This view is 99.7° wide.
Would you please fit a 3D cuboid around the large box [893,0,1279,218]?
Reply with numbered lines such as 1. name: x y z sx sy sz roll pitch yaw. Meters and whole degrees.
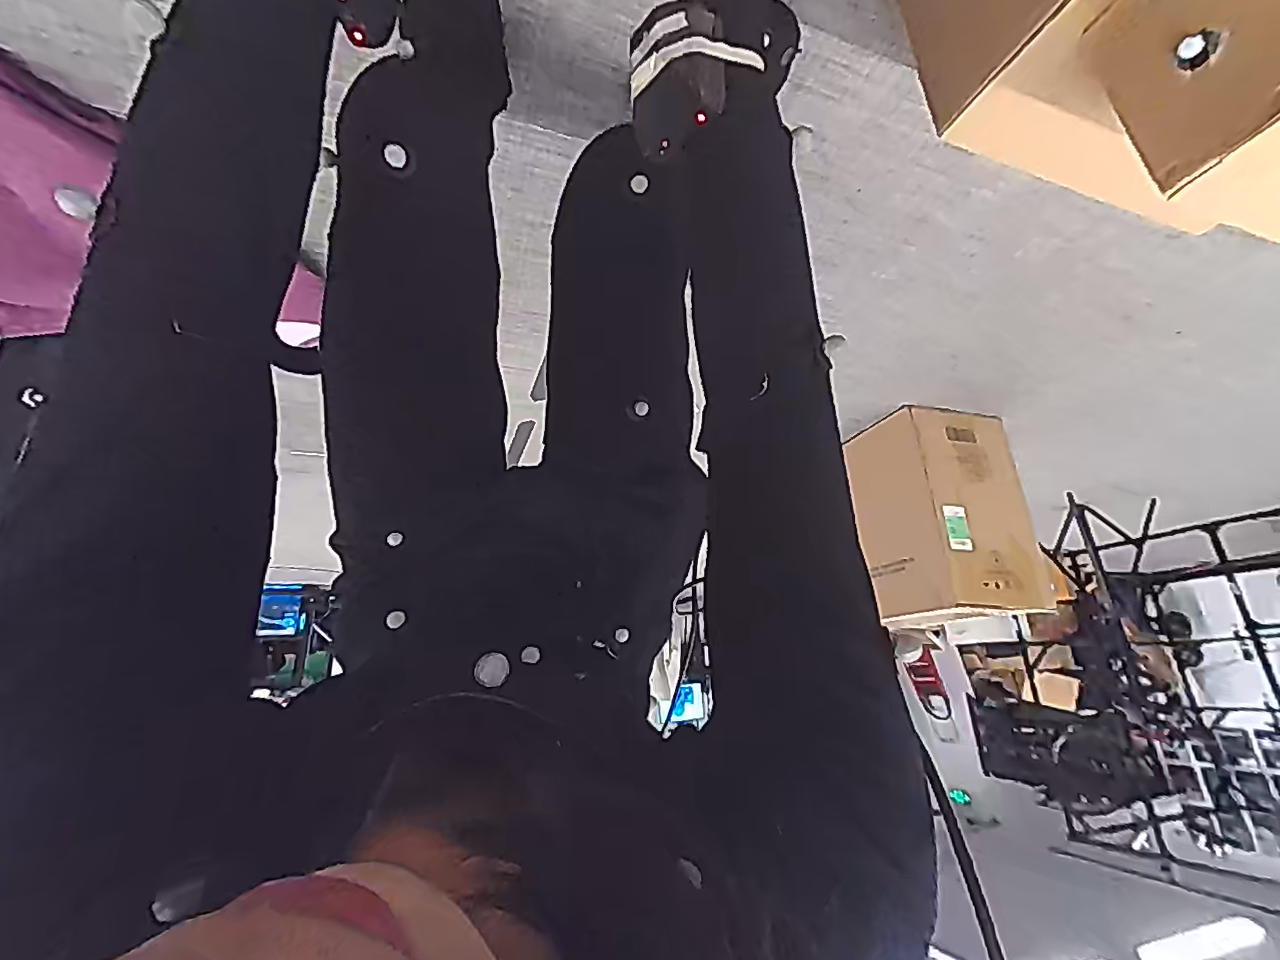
1. large box: 0.498 -0.505 0.481 0.408 0.320 0.320 4 160 -20
